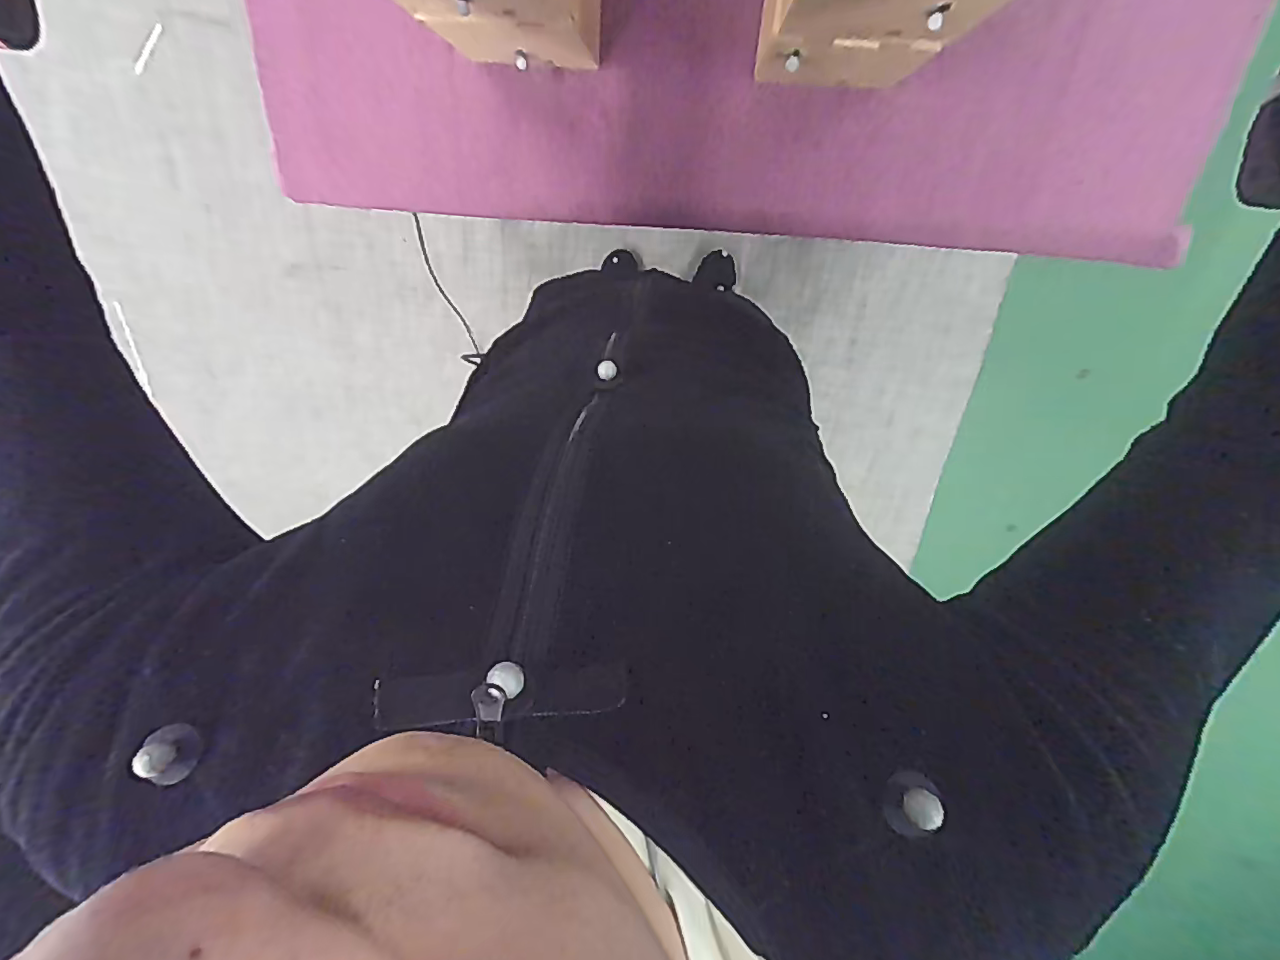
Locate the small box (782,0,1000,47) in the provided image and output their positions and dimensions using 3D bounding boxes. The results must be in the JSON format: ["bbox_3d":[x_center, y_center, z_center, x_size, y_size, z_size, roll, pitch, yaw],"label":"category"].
[{"bbox_3d":[0.211,-0.457,0.407,0.168,0.176,0.179,5,115,2],"label":"small box"}]

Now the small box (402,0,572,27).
[{"bbox_3d":[-0.146,-0.492,0.420,0.168,0.176,0.179,4,116,2],"label":"small box"}]

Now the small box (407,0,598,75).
[{"bbox_3d":[-0.135,-0.559,0.568,0.168,0.176,0.179,6,116,2],"label":"small box"}]
